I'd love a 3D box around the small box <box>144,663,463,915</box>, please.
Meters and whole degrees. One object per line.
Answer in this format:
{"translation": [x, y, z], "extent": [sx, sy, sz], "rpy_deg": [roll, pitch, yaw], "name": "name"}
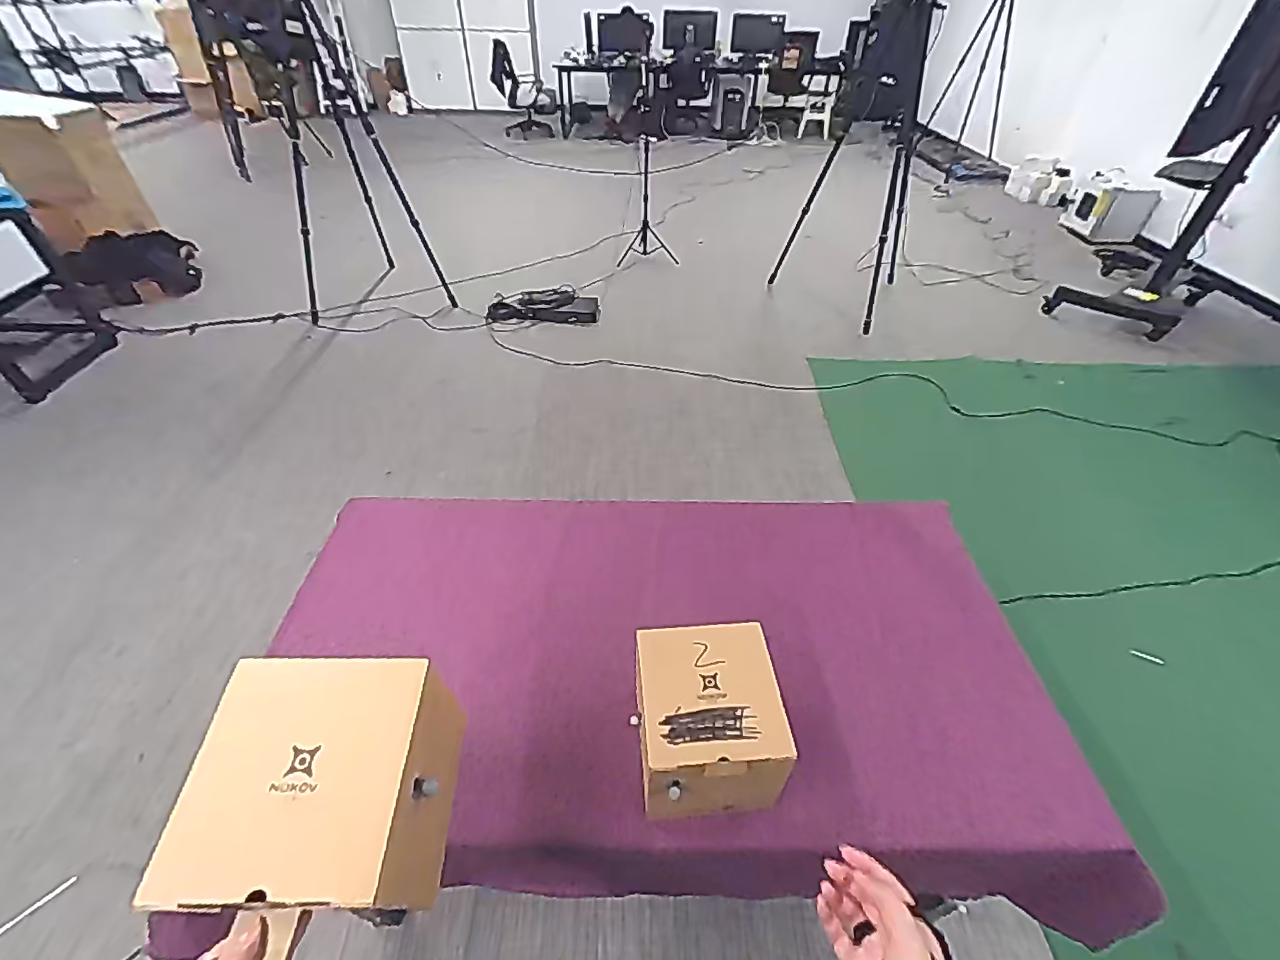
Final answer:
{"translation": [-0.271, 0.283, 0.493], "extent": [0.168, 0.176, 0.179], "rpy_deg": [1, 53, -2], "name": "small box"}
